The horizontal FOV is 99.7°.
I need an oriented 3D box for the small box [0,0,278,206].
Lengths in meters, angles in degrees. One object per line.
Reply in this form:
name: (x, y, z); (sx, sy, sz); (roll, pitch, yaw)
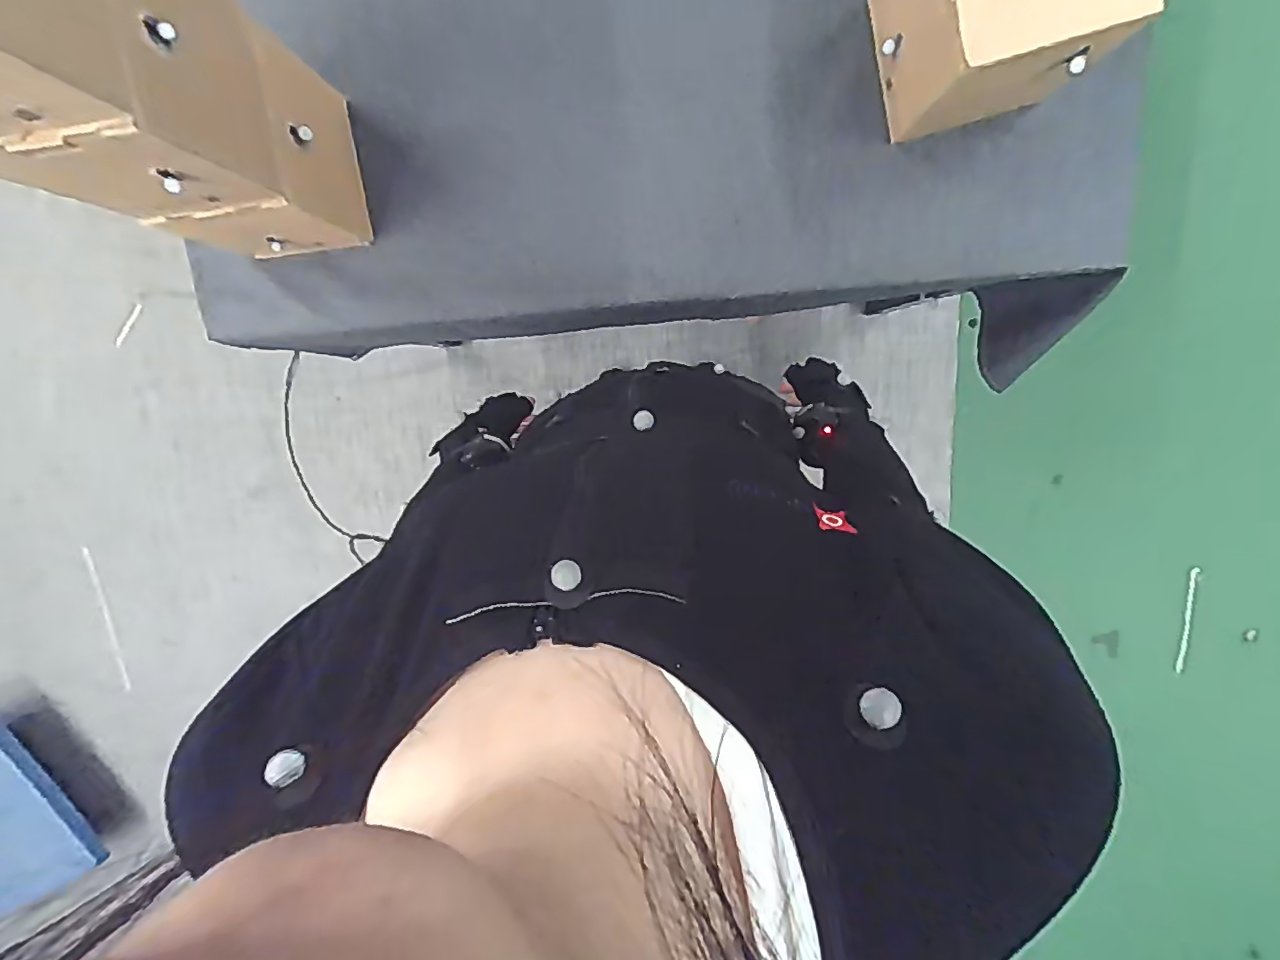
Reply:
small box: (-0.447, -0.346, 0.453); (0.168, 0.176, 0.179); (-5, 101, 2)

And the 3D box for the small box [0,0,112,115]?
small box: (-0.453, -0.320, 0.291); (0.168, 0.176, 0.179); (-7, 101, 2)

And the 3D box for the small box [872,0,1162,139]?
small box: (0.363, -0.486, 0.550); (0.179, 0.176, 0.168); (-13, 100, 6)

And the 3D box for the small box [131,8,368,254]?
small box: (-0.442, -0.374, 0.613); (0.168, 0.176, 0.179); (-6, 101, 3)
